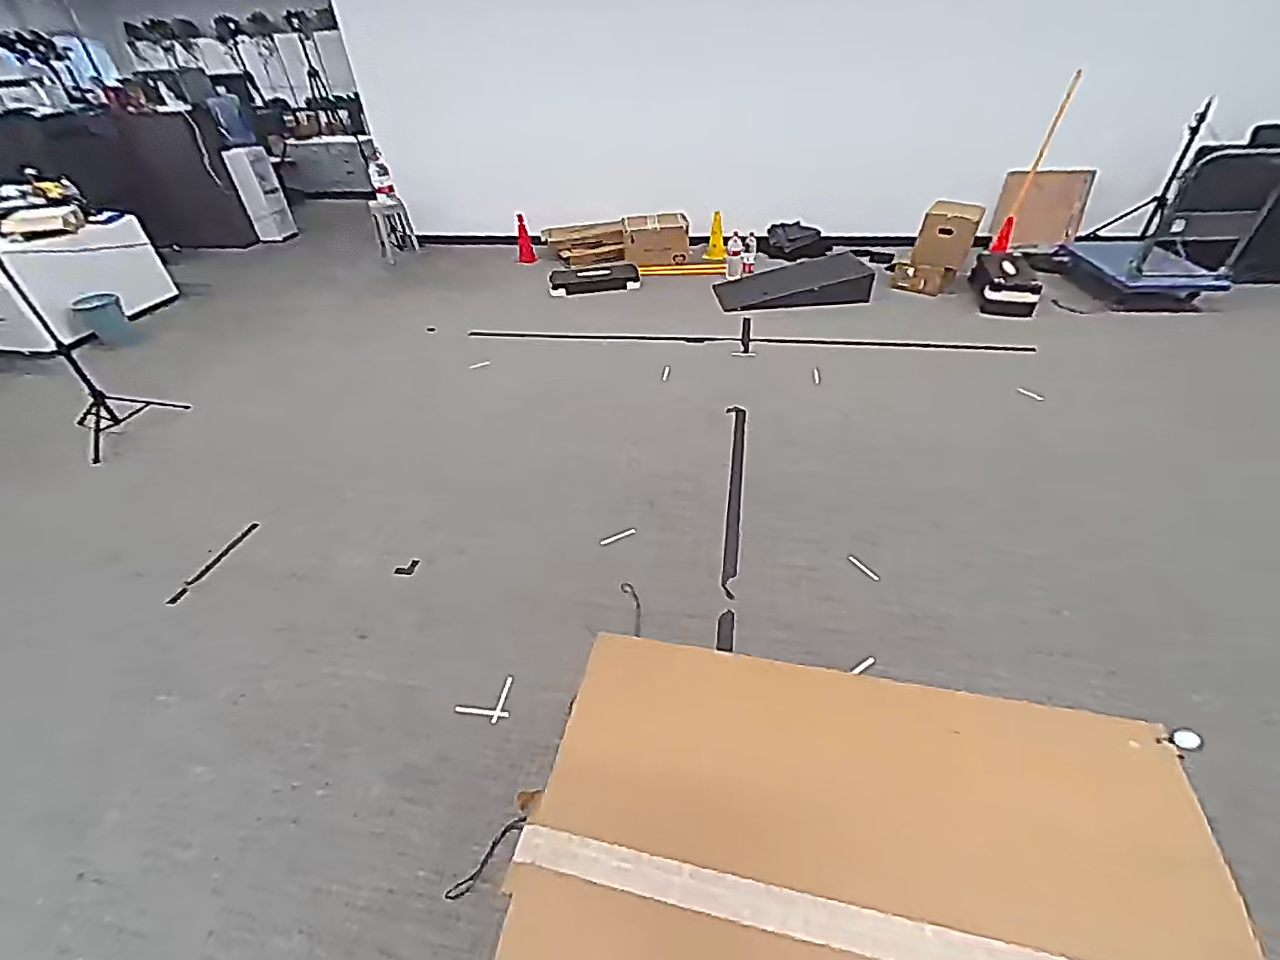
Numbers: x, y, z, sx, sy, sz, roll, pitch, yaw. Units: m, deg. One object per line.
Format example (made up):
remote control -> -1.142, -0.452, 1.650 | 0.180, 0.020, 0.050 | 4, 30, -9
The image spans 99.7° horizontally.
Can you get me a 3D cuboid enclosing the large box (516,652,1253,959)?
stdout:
large box -> 0.140, 0.372, 0.413 | 0.408, 0.320, 0.320 | 6, 46, 12
